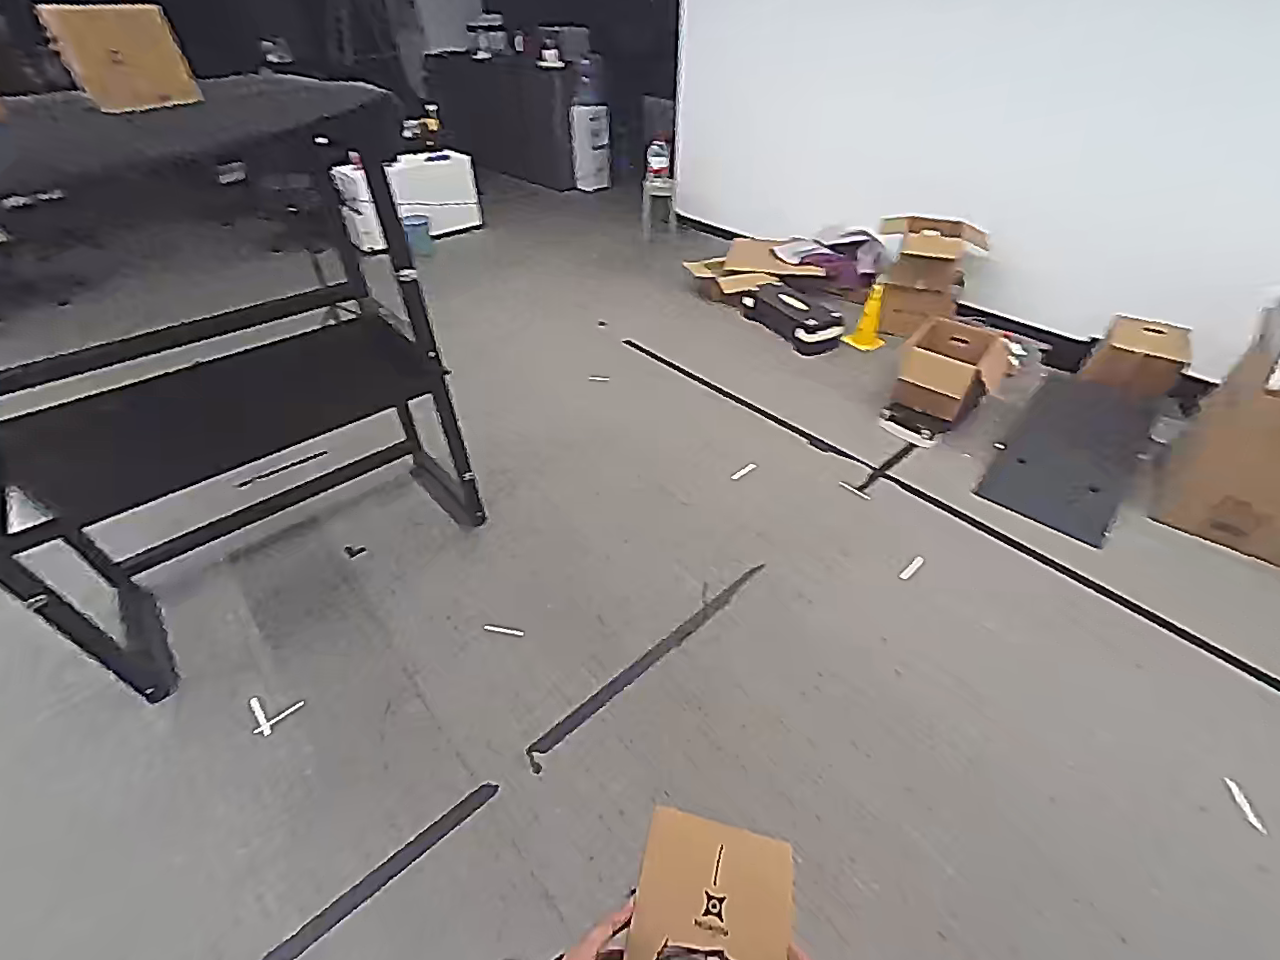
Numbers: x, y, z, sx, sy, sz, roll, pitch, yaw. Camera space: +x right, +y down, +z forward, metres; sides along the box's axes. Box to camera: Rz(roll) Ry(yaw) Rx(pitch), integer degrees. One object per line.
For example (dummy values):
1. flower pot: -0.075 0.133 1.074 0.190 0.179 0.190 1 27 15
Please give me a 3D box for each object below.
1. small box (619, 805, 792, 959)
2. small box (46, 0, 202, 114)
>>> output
1. small box: 0.069 0.507 0.615 0.168 0.176 0.179 11 45 7
2. small box: -1.027 -0.847 1.086 0.168 0.176 0.179 -32 48 -31
